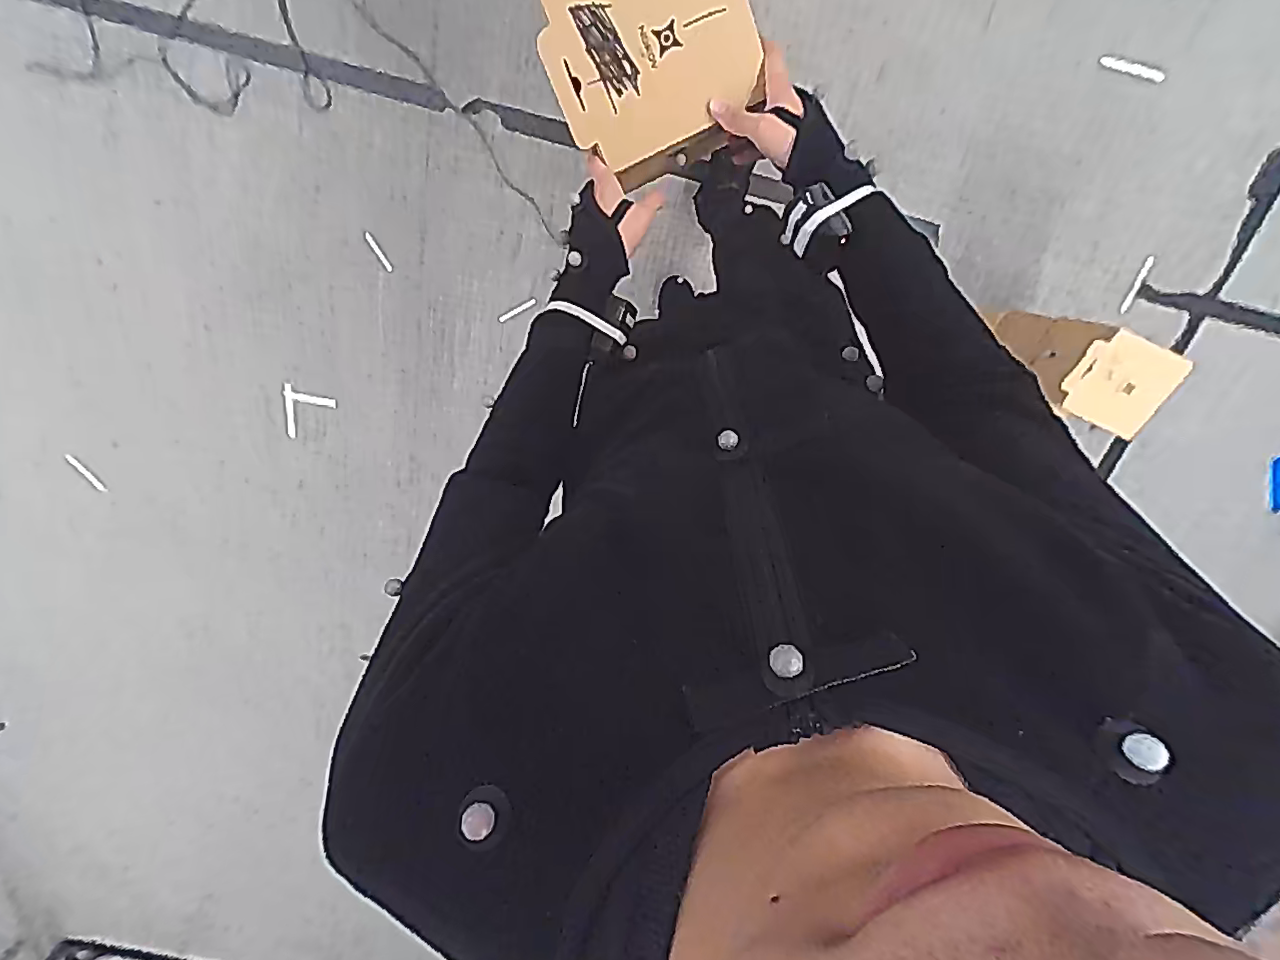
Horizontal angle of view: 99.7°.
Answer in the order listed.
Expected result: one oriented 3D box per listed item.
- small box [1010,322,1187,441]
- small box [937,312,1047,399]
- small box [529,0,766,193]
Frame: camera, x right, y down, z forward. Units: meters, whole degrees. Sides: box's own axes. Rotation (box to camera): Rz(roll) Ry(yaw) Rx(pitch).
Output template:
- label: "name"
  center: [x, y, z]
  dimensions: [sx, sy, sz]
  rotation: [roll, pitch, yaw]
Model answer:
- label: "small box"
  center: [0.921, -0.209, 1.106]
  dimensions: [0.179, 0.176, 0.168]
  rotation: [23, 113, -7]
- label: "small box"
  center: [0.921, -0.332, 1.412]
  dimensions: [0.179, 0.176, 0.168]
  rotation: [16, 113, -4]
- label: "small box"
  center: [0.010, -0.430, 0.571]
  dimensions: [0.179, 0.176, 0.168]
  rotation: [-23, 109, 8]
